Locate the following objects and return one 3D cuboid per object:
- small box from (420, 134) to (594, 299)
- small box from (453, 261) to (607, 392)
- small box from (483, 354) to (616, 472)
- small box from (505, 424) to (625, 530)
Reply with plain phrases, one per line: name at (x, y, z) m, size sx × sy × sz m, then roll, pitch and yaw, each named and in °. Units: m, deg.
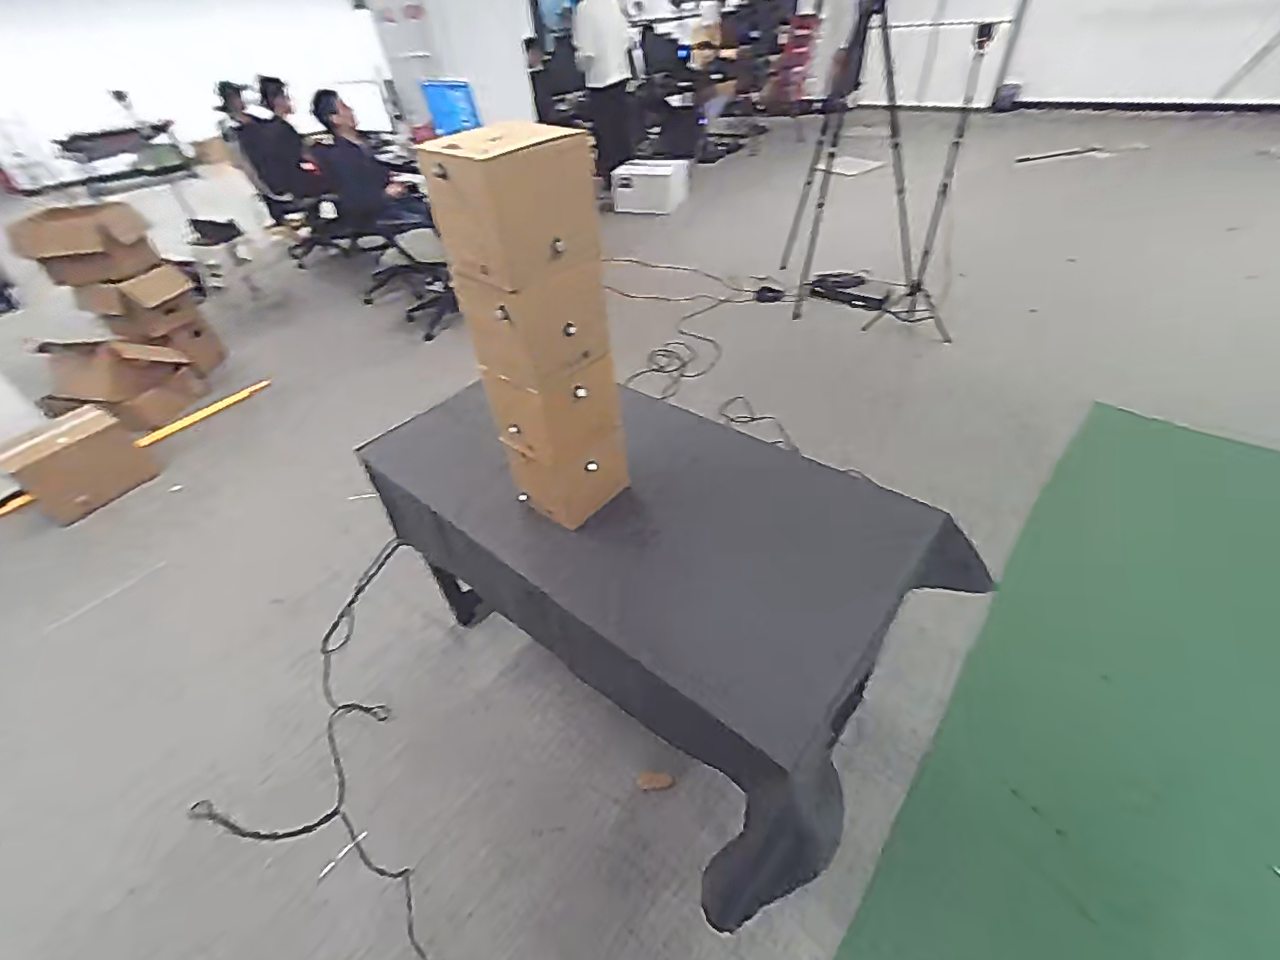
small box at (-0.183, -0.389, 0.793) m, size 0.168 × 0.176 × 0.179 m, roll 29°, pitch 52°, yaw 33°
small box at (-0.173, -0.268, 0.903) m, size 0.179 × 0.176 × 0.168 m, roll 28°, pitch 52°, yaw 33°
small box at (-0.159, -0.147, 1.014) m, size 0.168 × 0.176 × 0.179 m, roll 27°, pitch 51°, yaw 32°
small box at (-0.146, -0.026, 1.121) m, size 0.168 × 0.176 × 0.179 m, roll 26°, pitch 50°, yaw 32°
